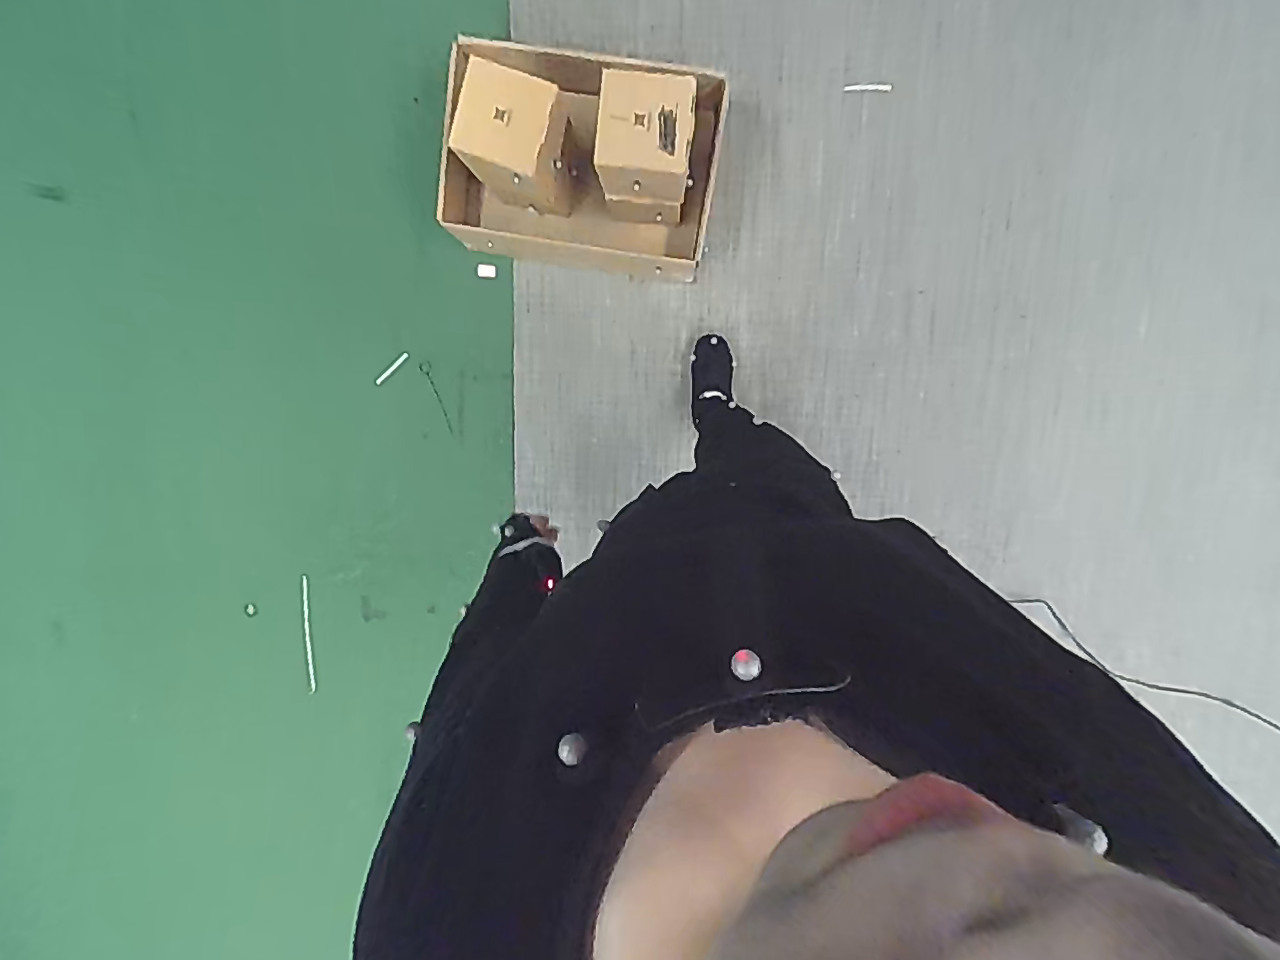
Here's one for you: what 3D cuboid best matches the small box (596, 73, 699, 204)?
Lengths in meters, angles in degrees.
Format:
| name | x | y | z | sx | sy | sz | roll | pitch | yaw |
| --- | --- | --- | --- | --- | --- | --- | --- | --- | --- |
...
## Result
| name | x | y | z | sx | sy | sz | roll | pitch | yaw |
| --- | --- | --- | --- | --- | --- | --- | --- | --- | --- |
| small box | 0.020 | -0.673 | 1.085 | 0.179 | 0.176 | 0.168 | 8 | 100 | 4 |

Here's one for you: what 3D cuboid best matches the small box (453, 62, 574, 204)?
| name | x | y | z | sx | sy | sz | roll | pitch | yaw |
| --- | --- | --- | --- | --- | --- | --- | --- | --- | --- |
| small box | -0.250 | -0.693 | 1.105 | 0.179 | 0.176 | 0.168 | 19 | 99 | -1 |
